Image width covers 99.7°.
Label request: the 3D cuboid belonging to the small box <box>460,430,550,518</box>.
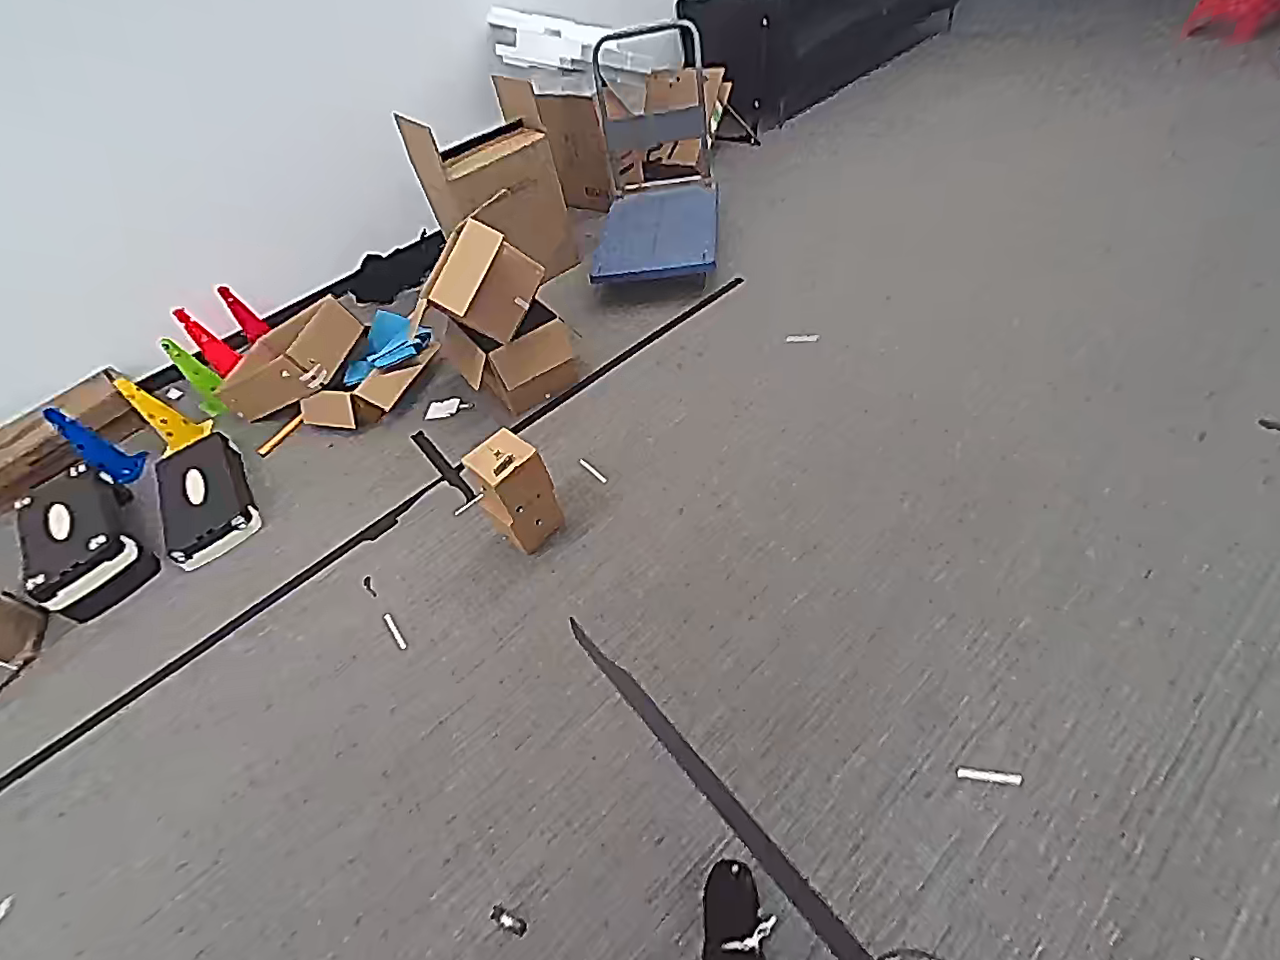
[{"bbox_3d":[-0.396,-0.013,1.618,0.179,0.176,0.168,32,62,34],"label":"small box"}]
